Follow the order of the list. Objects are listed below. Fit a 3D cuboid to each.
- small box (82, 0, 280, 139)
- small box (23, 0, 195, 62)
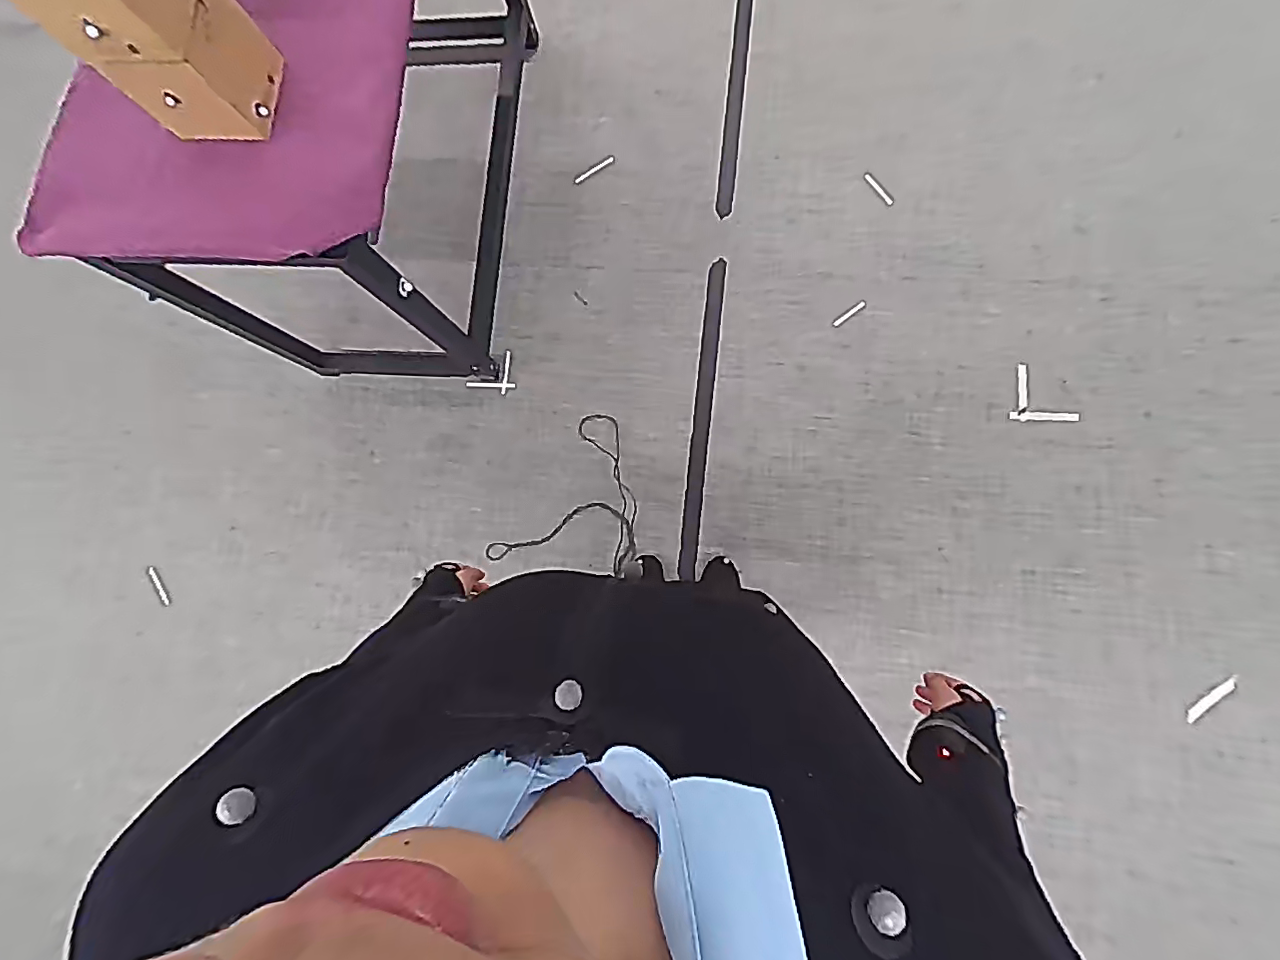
[{"bbox_3d":[-0.744,-0.699,0.897,0.179,0.176,0.168,5,82,7],"label":"small box"},{"bbox_3d":[-0.751,-0.719,0.733,0.168,0.176,0.179,4,82,6],"label":"small box"}]
